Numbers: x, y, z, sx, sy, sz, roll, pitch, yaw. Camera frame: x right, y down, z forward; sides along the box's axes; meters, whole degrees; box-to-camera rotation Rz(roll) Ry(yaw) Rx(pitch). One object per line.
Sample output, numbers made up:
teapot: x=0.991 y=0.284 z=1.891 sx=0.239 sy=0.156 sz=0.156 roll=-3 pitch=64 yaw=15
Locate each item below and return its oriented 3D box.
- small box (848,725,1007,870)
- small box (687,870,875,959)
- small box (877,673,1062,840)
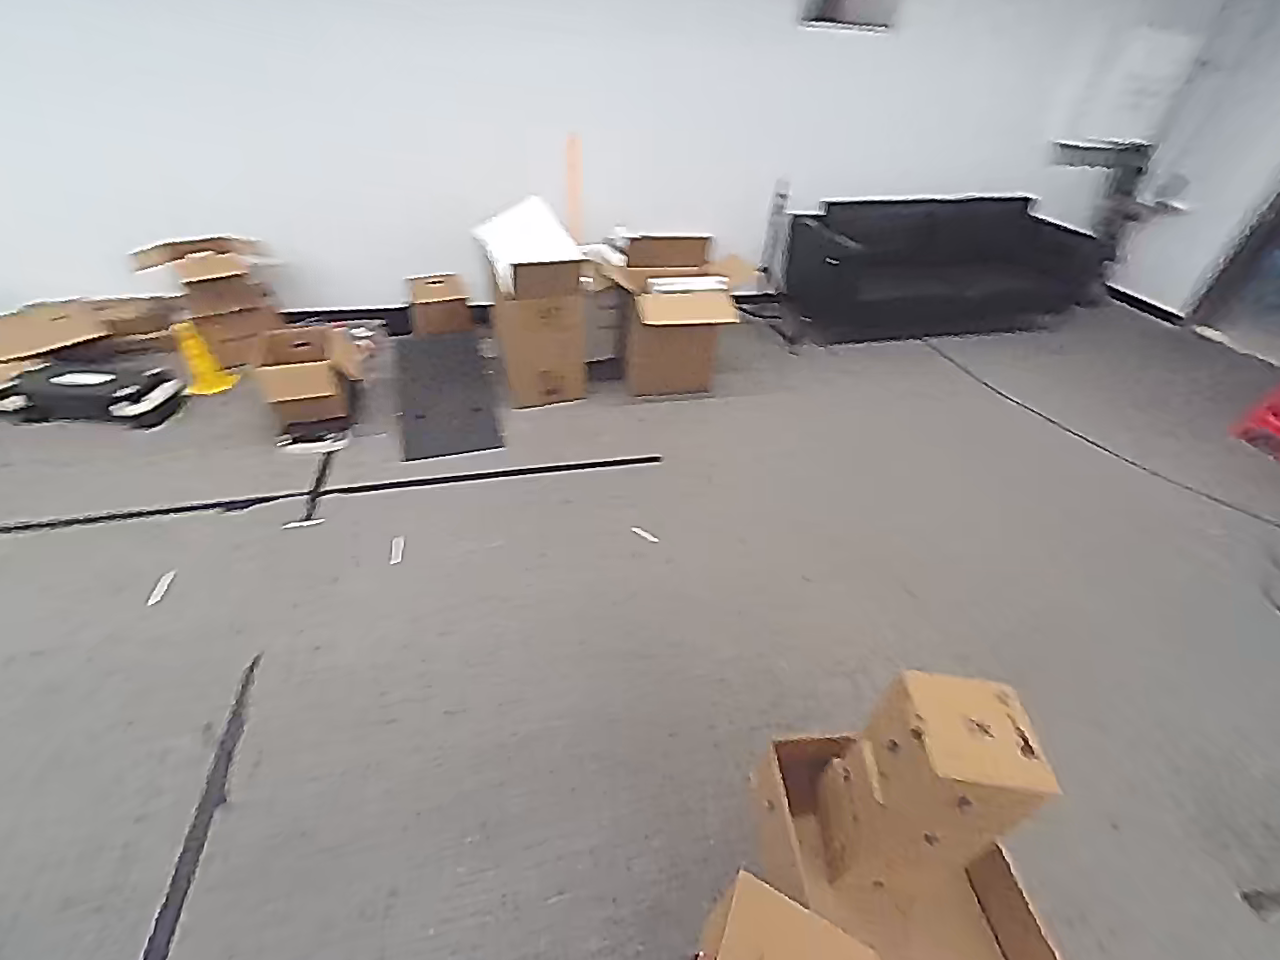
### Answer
small box: x=0.480 y=0.555 z=0.943 sx=0.179 sy=0.176 sz=0.168 roll=6 pitch=39 yaw=0
small box: x=0.143 y=0.607 z=0.618 sx=0.179 sy=0.176 sz=0.168 roll=23 pitch=34 yaw=14
small box: x=0.486 y=0.428 z=0.838 sx=0.179 sy=0.176 sz=0.168 roll=8 pitch=39 yaw=4
